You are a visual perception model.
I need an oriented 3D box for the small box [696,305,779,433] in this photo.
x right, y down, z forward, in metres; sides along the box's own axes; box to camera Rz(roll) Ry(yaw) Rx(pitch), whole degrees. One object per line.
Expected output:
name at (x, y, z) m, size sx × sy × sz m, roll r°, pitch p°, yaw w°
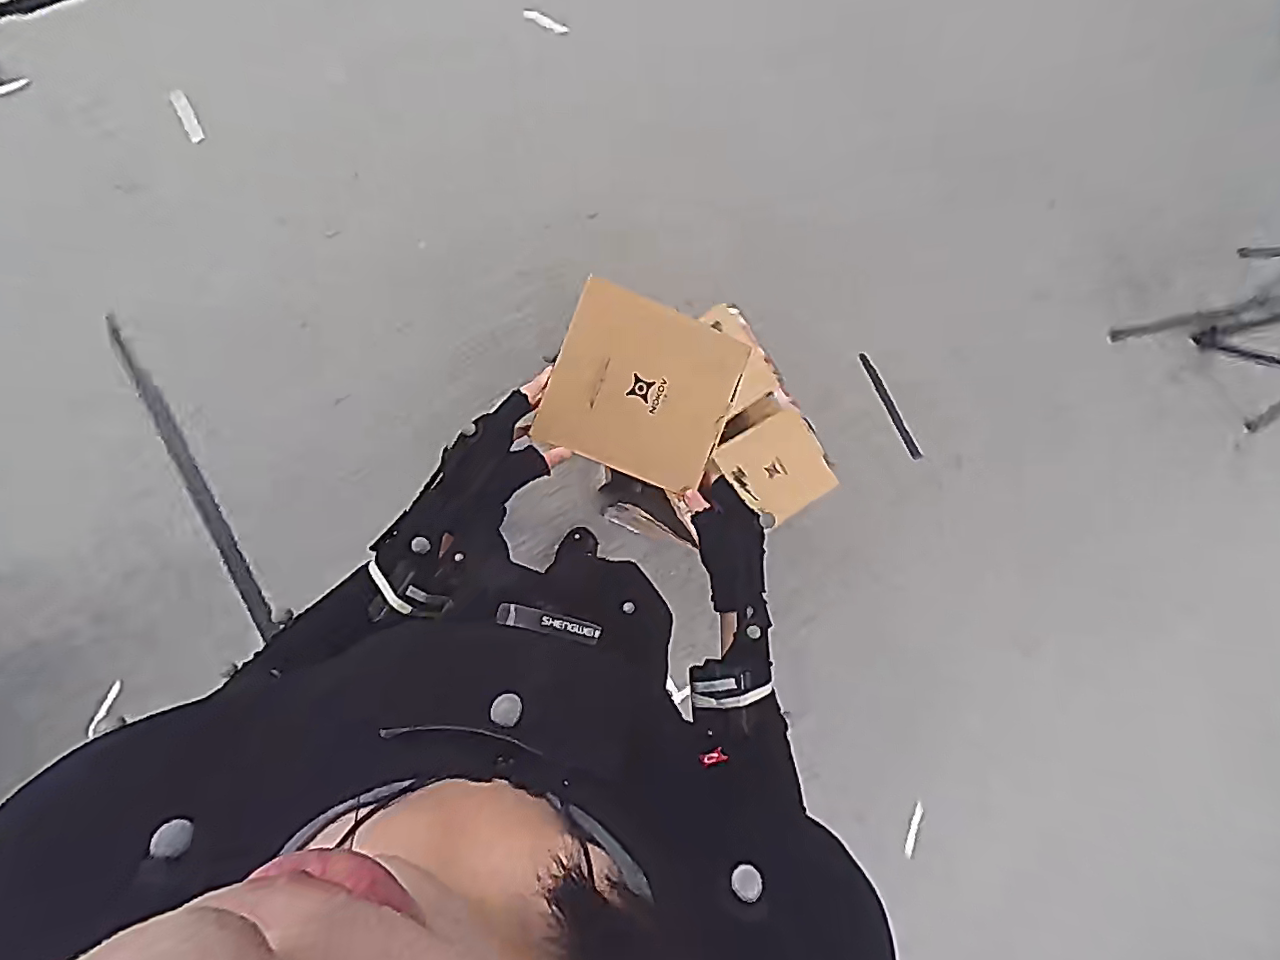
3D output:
small box at (0.116, -0.180, 0.991) m, size 0.168 × 0.176 × 0.179 m, roll -33°, pitch 90°, yaw -9°

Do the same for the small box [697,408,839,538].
small box at (0.220, -0.010, 0.995) m, size 0.179 × 0.176 × 0.168 m, roll -31°, pitch 92°, yaw -10°

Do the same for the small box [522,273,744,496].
small box at (-0.018, -0.093, 0.590) m, size 0.179 × 0.176 × 0.168 m, roll 19°, pitch 89°, yaw -11°
